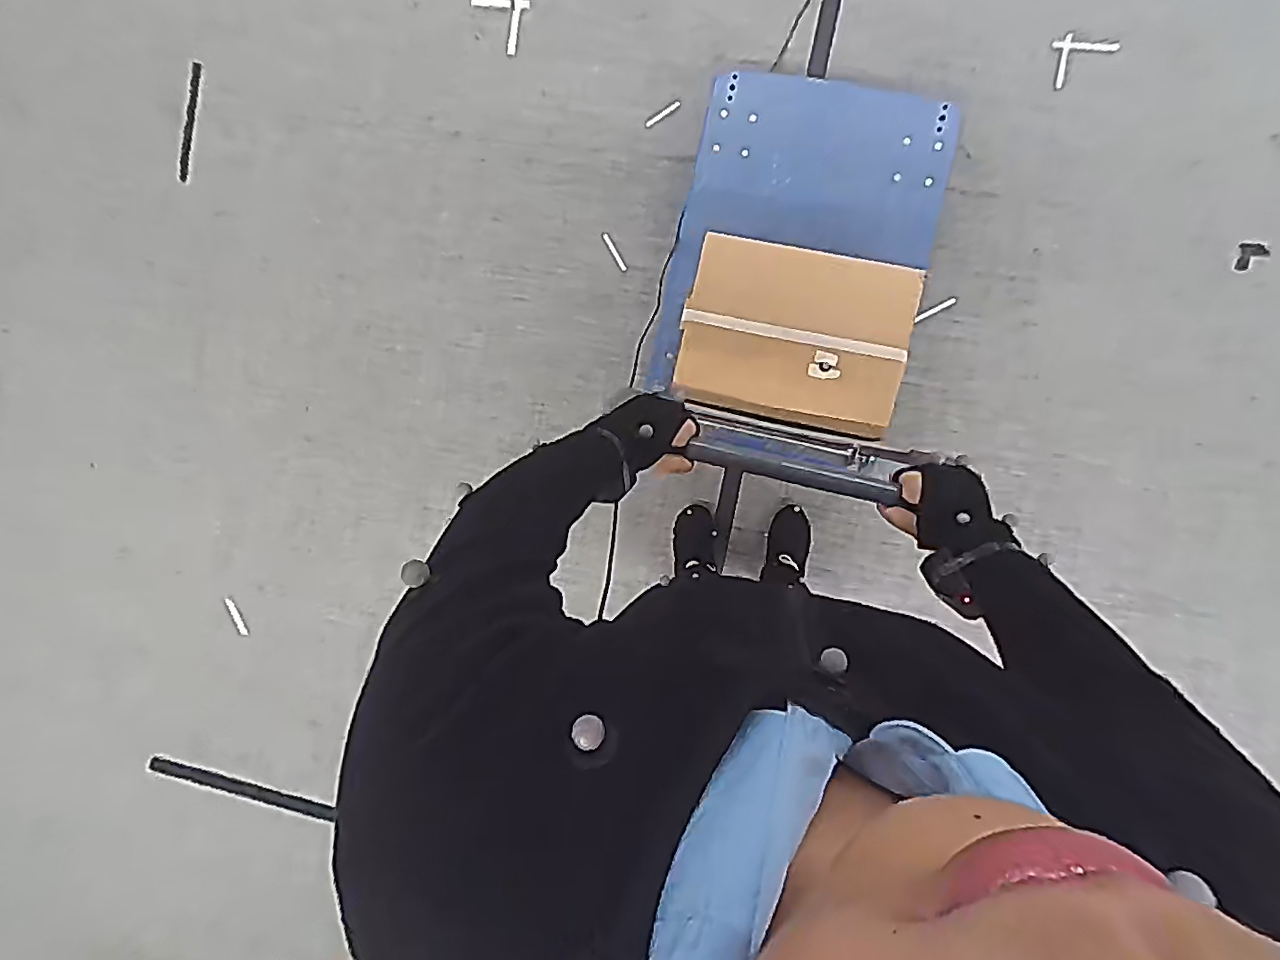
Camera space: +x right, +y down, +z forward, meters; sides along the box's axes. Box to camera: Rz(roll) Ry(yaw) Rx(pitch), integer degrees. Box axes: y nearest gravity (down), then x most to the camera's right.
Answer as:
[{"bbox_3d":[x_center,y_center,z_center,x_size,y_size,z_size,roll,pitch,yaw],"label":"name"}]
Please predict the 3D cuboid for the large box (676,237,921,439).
[{"bbox_3d":[0.305,-0.280,1.160,0.408,0.320,0.320,13,95,6],"label":"large box"}]
